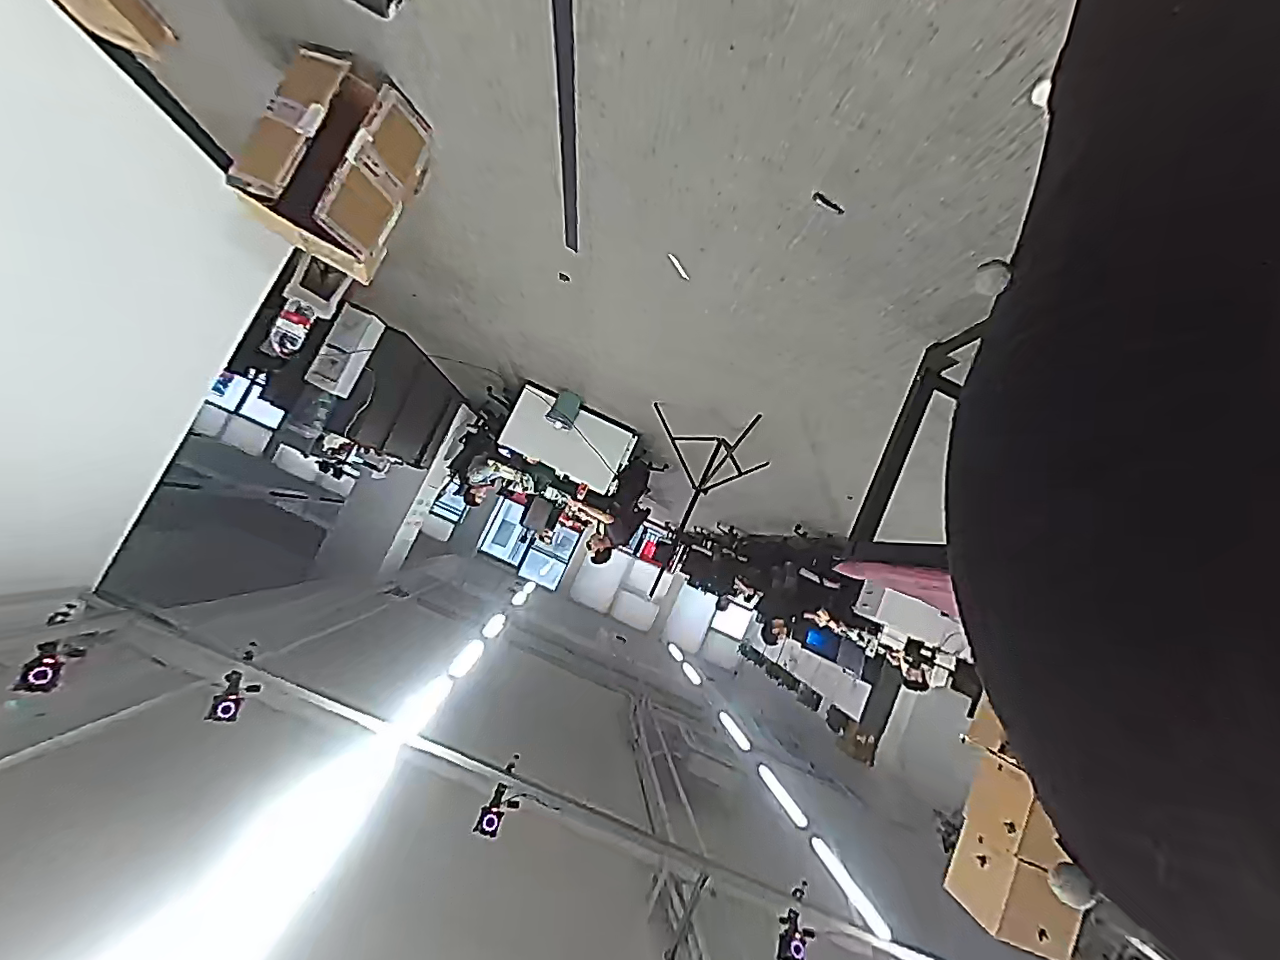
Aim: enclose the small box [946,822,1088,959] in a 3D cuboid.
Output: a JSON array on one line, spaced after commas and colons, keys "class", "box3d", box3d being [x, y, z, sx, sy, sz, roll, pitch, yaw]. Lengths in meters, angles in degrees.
[{"class": "small box", "box3d": [0.831, 0.906, 1.195, 0.179, 0.176, 0.168, 24, 173, -3]}]
